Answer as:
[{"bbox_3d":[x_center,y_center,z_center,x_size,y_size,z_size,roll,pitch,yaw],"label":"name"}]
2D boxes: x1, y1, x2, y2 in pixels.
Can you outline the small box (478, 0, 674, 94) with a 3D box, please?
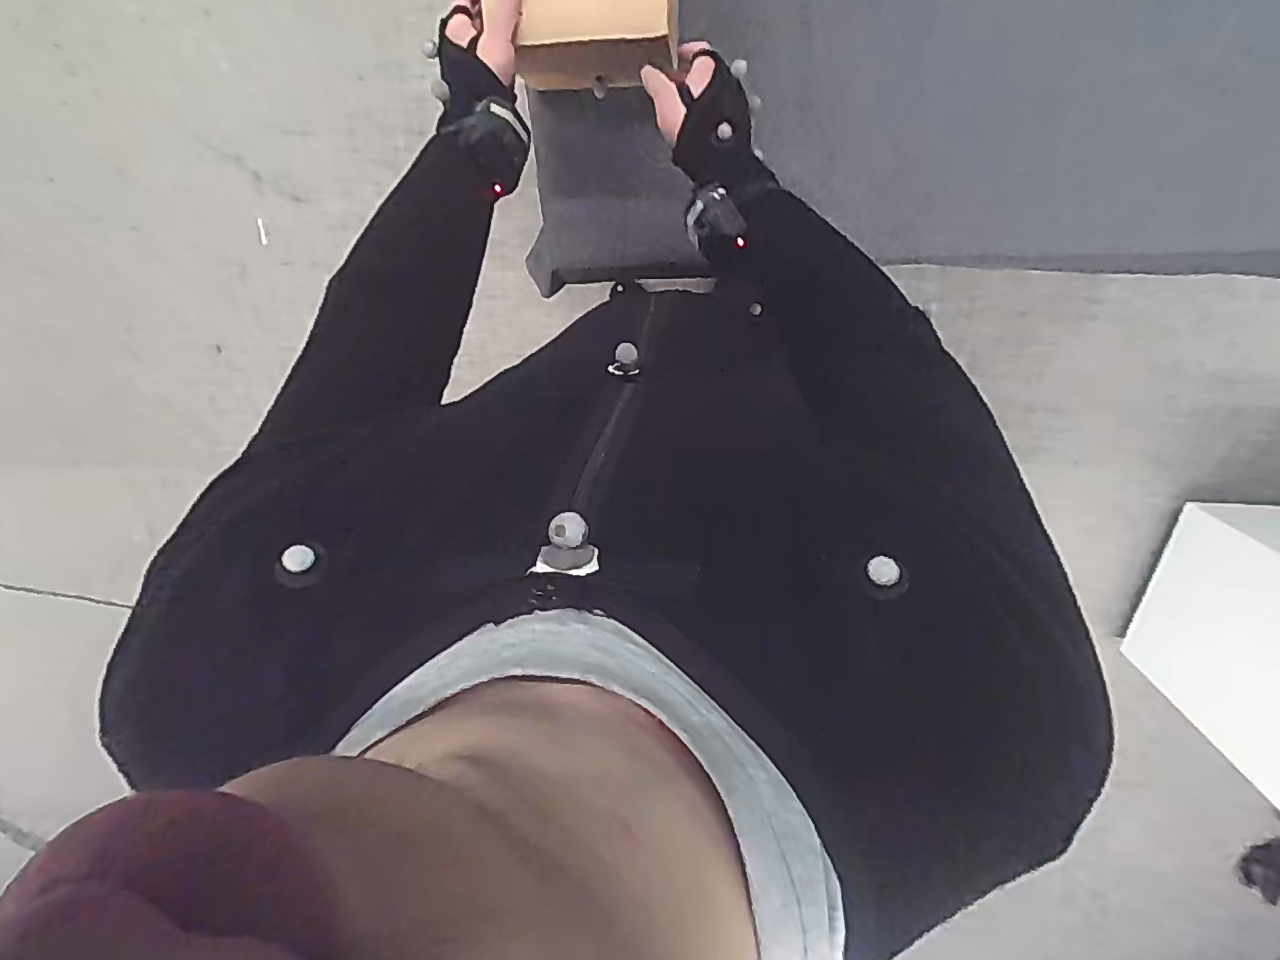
[{"bbox_3d":[-0.055,-0.506,0.541,0.179,0.176,0.168,2,114,6],"label":"small box"}]
